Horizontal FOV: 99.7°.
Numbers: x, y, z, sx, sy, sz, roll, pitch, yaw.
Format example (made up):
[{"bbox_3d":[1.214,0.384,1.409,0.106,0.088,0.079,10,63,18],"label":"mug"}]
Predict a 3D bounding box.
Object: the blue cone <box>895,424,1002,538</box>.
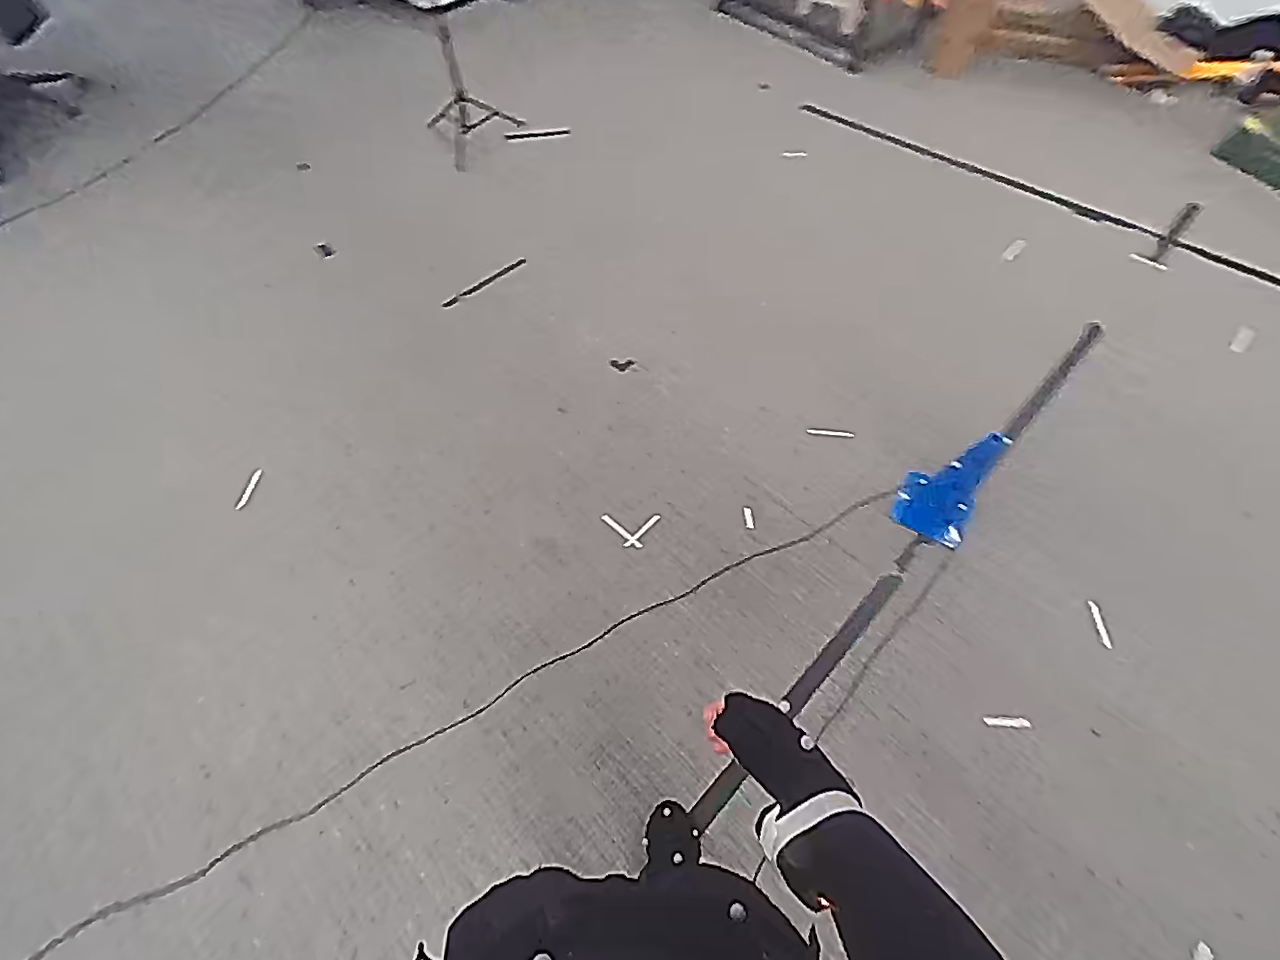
[{"bbox_3d":[0.850,-0.016,1.439,0.193,0.380,0.192,26,64,18],"label":"blue cone"}]
